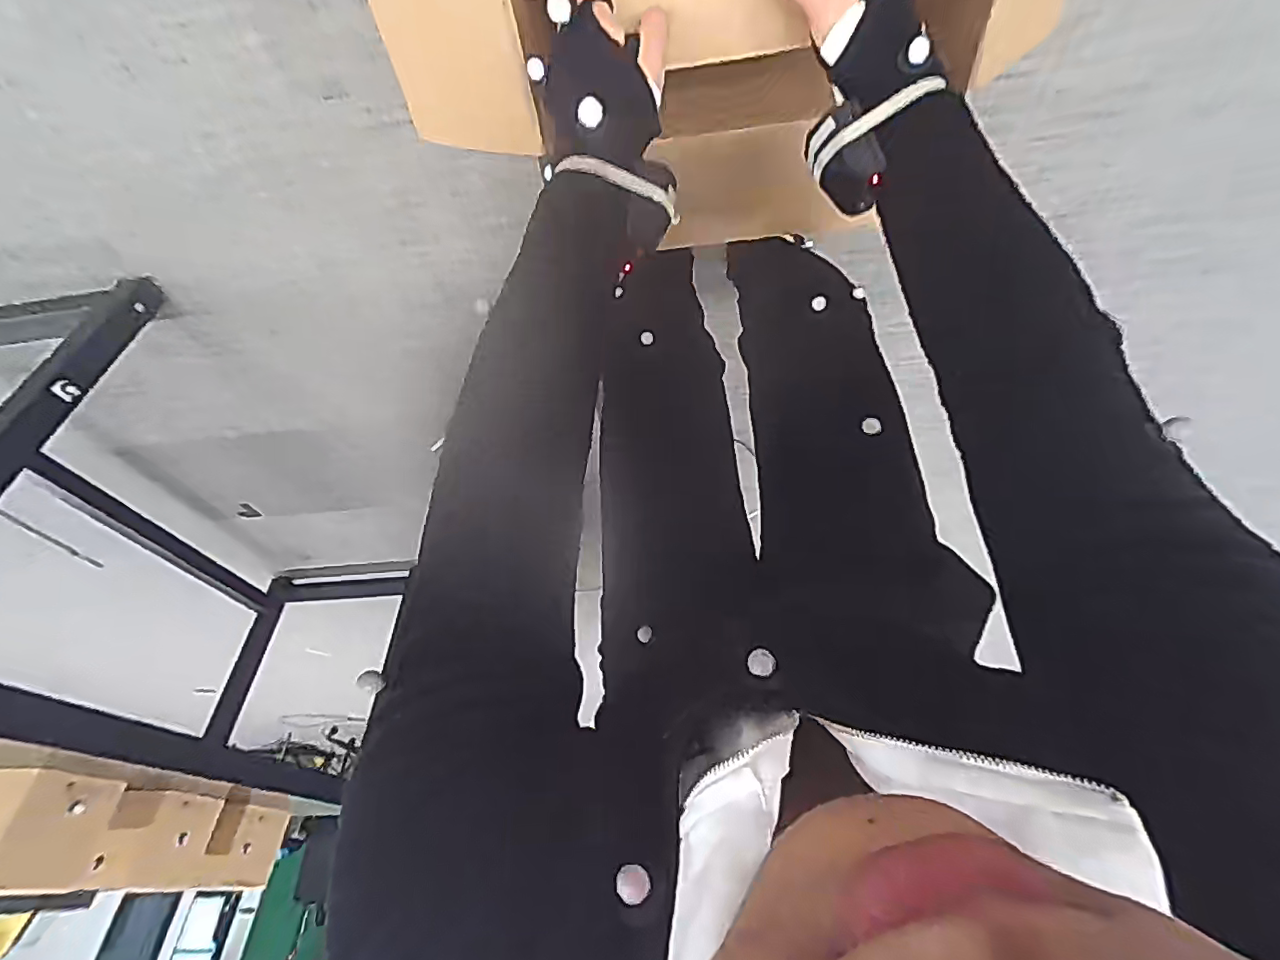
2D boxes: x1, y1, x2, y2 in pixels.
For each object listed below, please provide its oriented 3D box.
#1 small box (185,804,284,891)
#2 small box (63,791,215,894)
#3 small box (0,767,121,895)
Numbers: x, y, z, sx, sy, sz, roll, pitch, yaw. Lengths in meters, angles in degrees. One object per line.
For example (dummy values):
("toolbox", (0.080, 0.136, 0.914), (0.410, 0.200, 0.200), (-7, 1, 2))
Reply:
("small box", (-1.012, 0.895, 1.318), (0.179, 0.176, 0.168), (-4, 142, 7))
("small box", (-1.040, 0.754, 1.127), (0.179, 0.176, 0.168), (-4, 142, 5))
("small box", (-1.062, 0.595, 0.916), (0.179, 0.176, 0.168), (-5, 143, 5))
